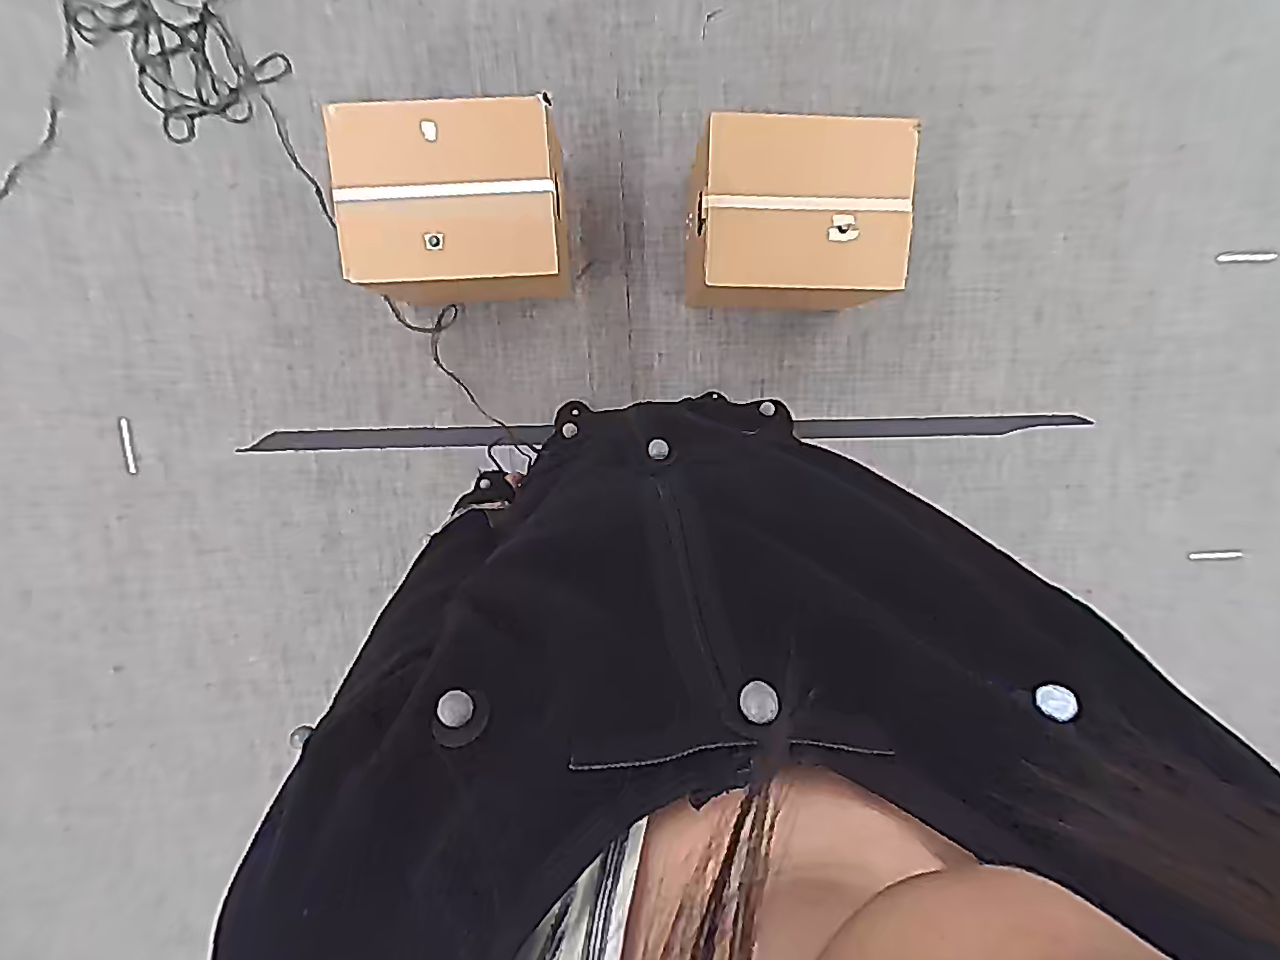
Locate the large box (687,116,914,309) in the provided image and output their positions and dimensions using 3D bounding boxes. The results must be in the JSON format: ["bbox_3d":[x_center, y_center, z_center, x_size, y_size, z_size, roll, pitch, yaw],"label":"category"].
[{"bbox_3d":[0.321,-0.562,1.202,0.408,0.320,0.320,0,100,-3],"label":"large box"}]
